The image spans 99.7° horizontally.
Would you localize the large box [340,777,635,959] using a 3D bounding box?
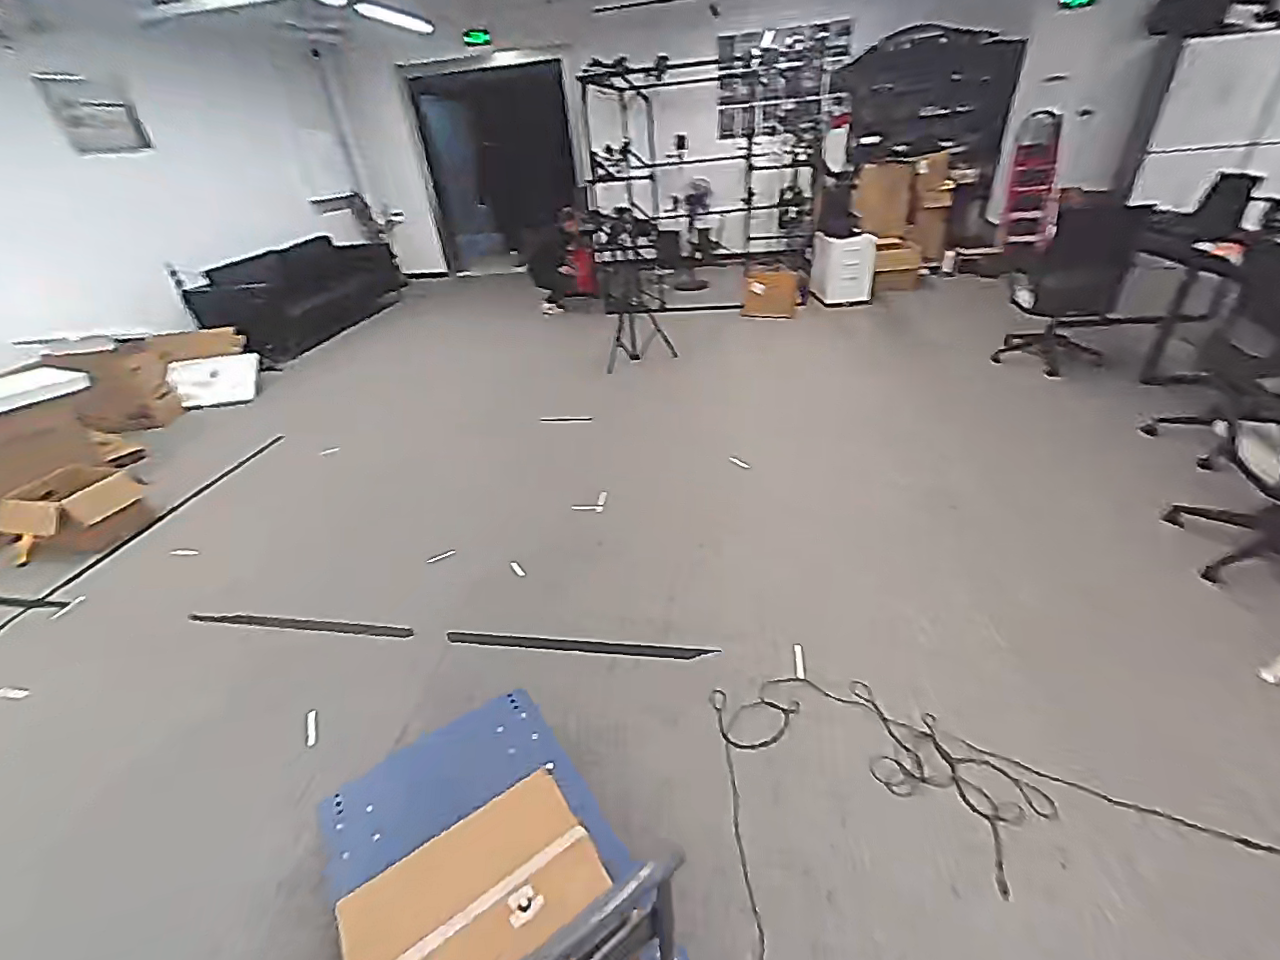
[{"bbox_3d":[-0.255,0.858,0.976,0.408,0.320,0.320,-23,37,-27],"label":"large box"}]
